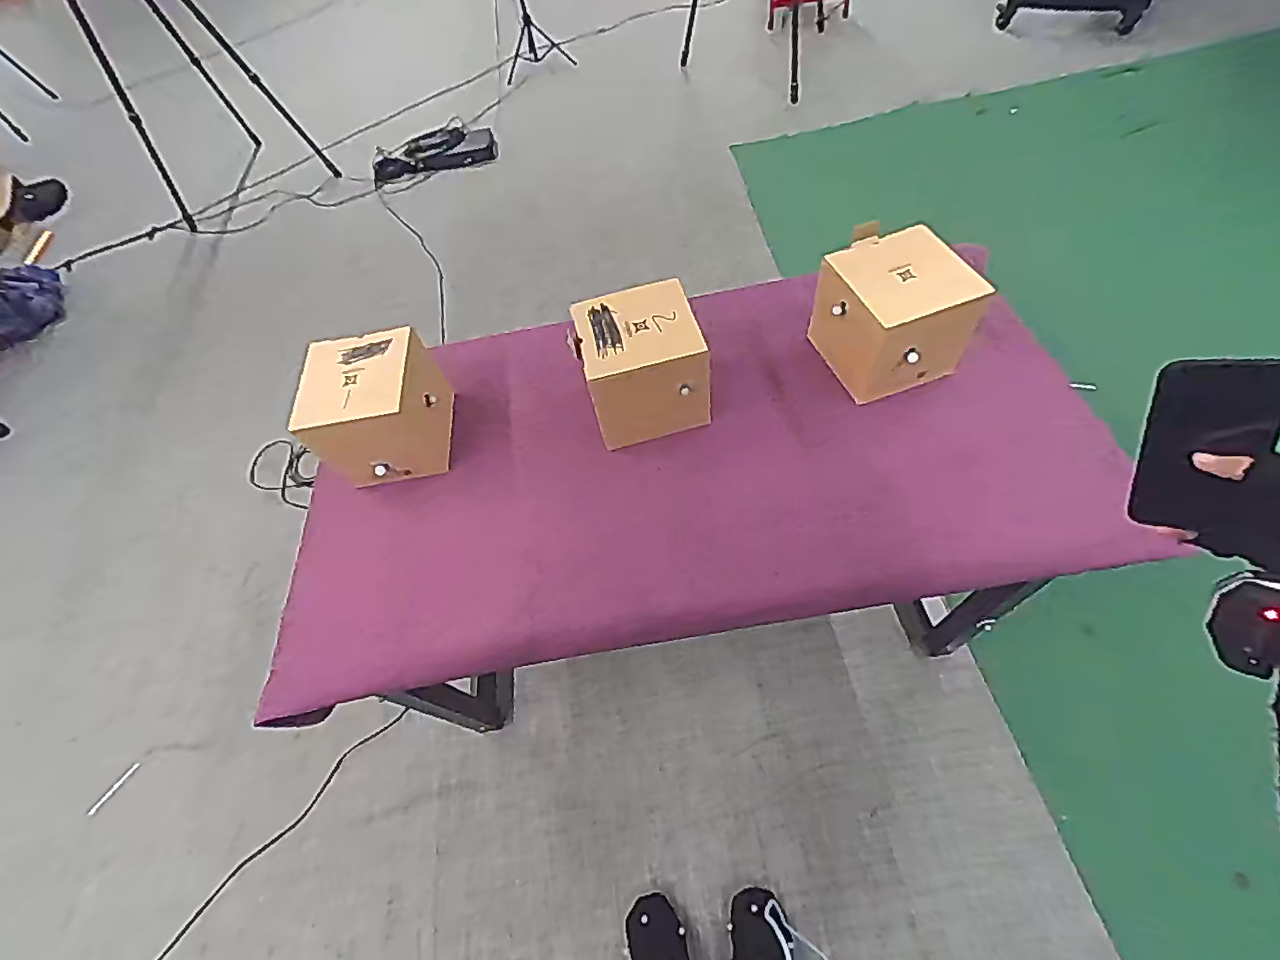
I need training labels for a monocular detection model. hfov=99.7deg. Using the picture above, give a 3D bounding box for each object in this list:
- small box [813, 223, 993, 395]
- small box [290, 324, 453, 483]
[{"bbox_3d":[0.389,-0.254,0.837,0.168,0.176,0.179,-19,57,-3],"label":"small box"},{"bbox_3d":[-0.413,-0.119,0.868,0.168,0.176,0.179,-9,59,3],"label":"small box"}]
